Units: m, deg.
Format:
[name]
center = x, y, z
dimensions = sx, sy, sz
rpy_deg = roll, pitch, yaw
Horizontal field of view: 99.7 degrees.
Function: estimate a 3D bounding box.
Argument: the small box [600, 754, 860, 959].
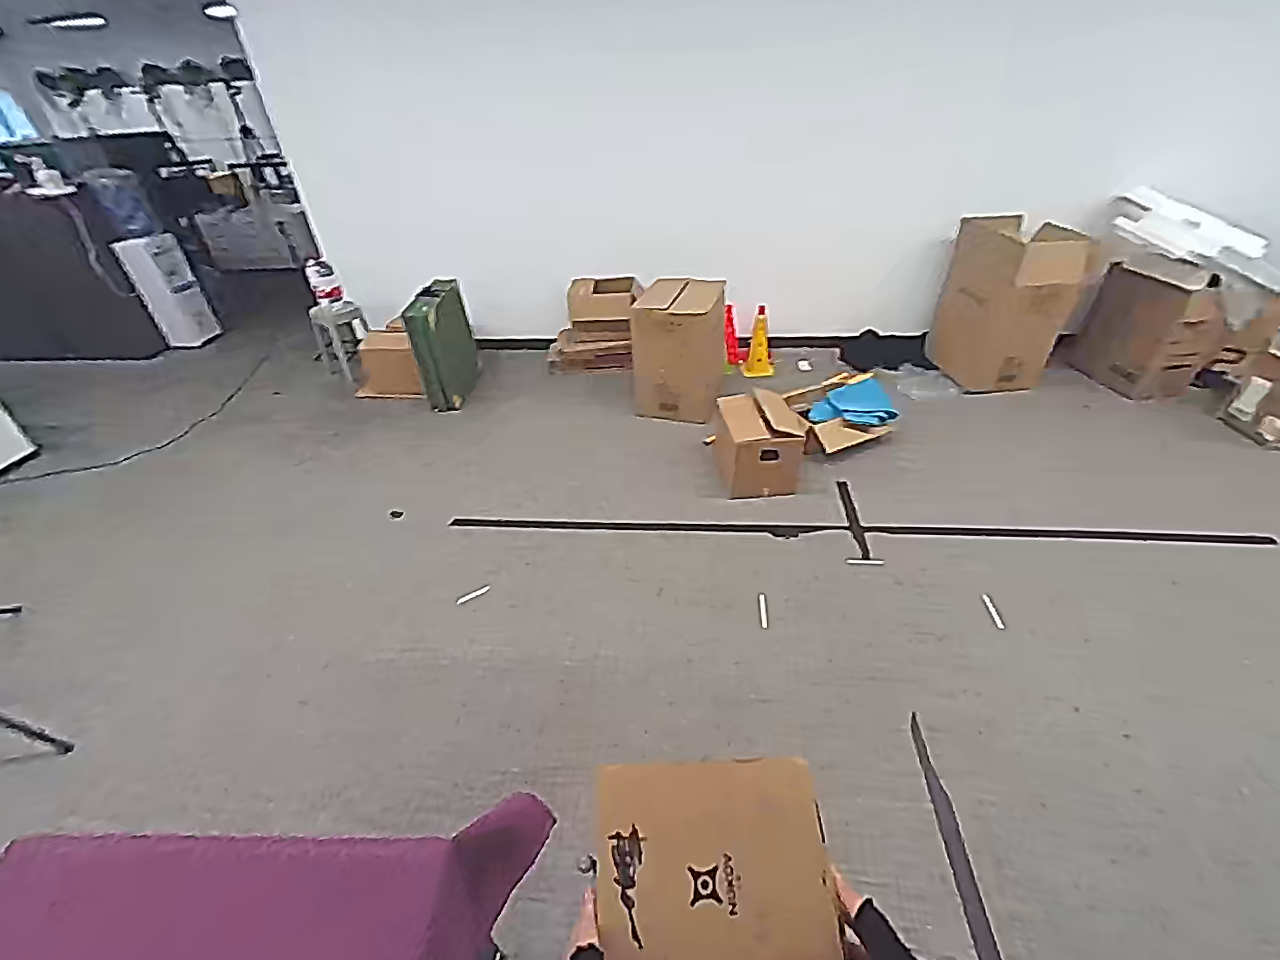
[small box]
center = 0.057, 0.335, 0.455
dimensions = 0.179, 0.176, 0.168
rpy_deg = 1, 53, -4
